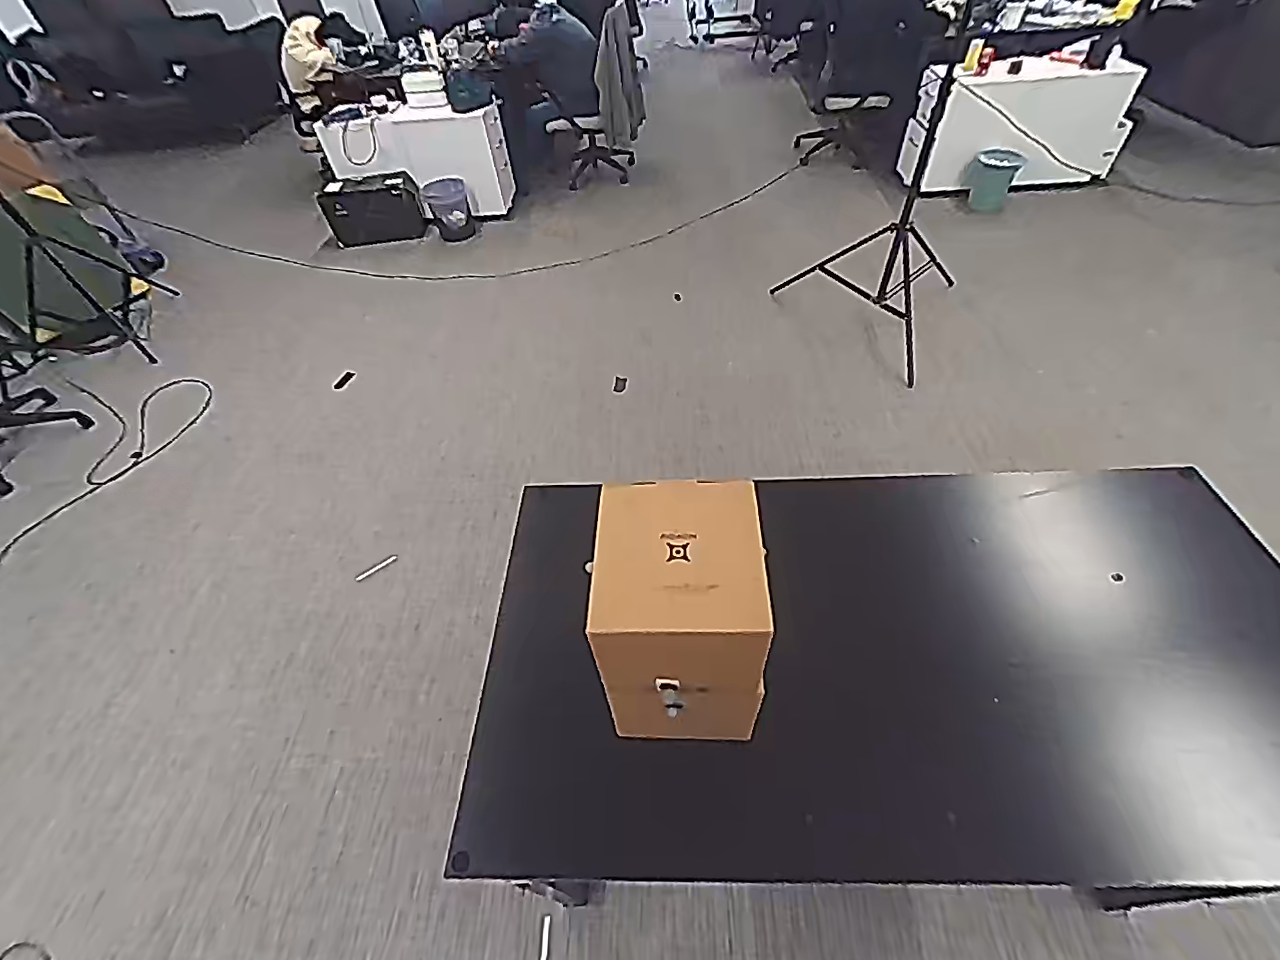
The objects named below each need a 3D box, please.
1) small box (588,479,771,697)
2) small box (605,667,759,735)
[{"bbox_3d":[0.042,0.119,0.592,0.168,0.176,0.179,-2,49,5],"label":"small box"},{"bbox_3d":[0.055,0.225,0.714,0.179,0.176,0.168,0,49,4],"label":"small box"}]
